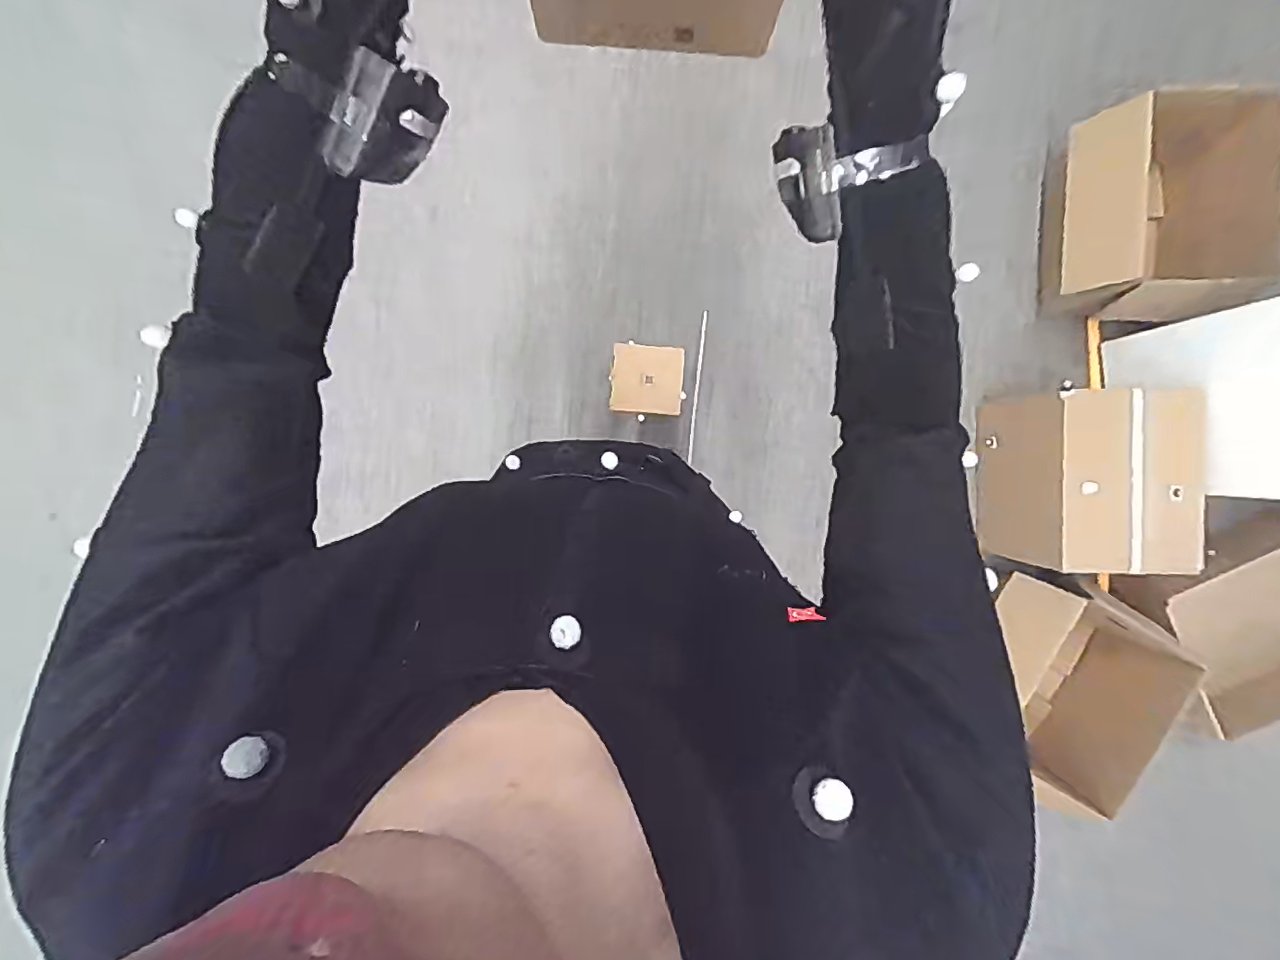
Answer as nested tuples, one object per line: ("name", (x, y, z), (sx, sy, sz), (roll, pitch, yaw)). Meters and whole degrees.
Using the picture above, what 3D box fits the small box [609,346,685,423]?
("small box", (0.017, -0.240, 1.393), (0.179, 0.176, 0.168), (5, 91, 1))
